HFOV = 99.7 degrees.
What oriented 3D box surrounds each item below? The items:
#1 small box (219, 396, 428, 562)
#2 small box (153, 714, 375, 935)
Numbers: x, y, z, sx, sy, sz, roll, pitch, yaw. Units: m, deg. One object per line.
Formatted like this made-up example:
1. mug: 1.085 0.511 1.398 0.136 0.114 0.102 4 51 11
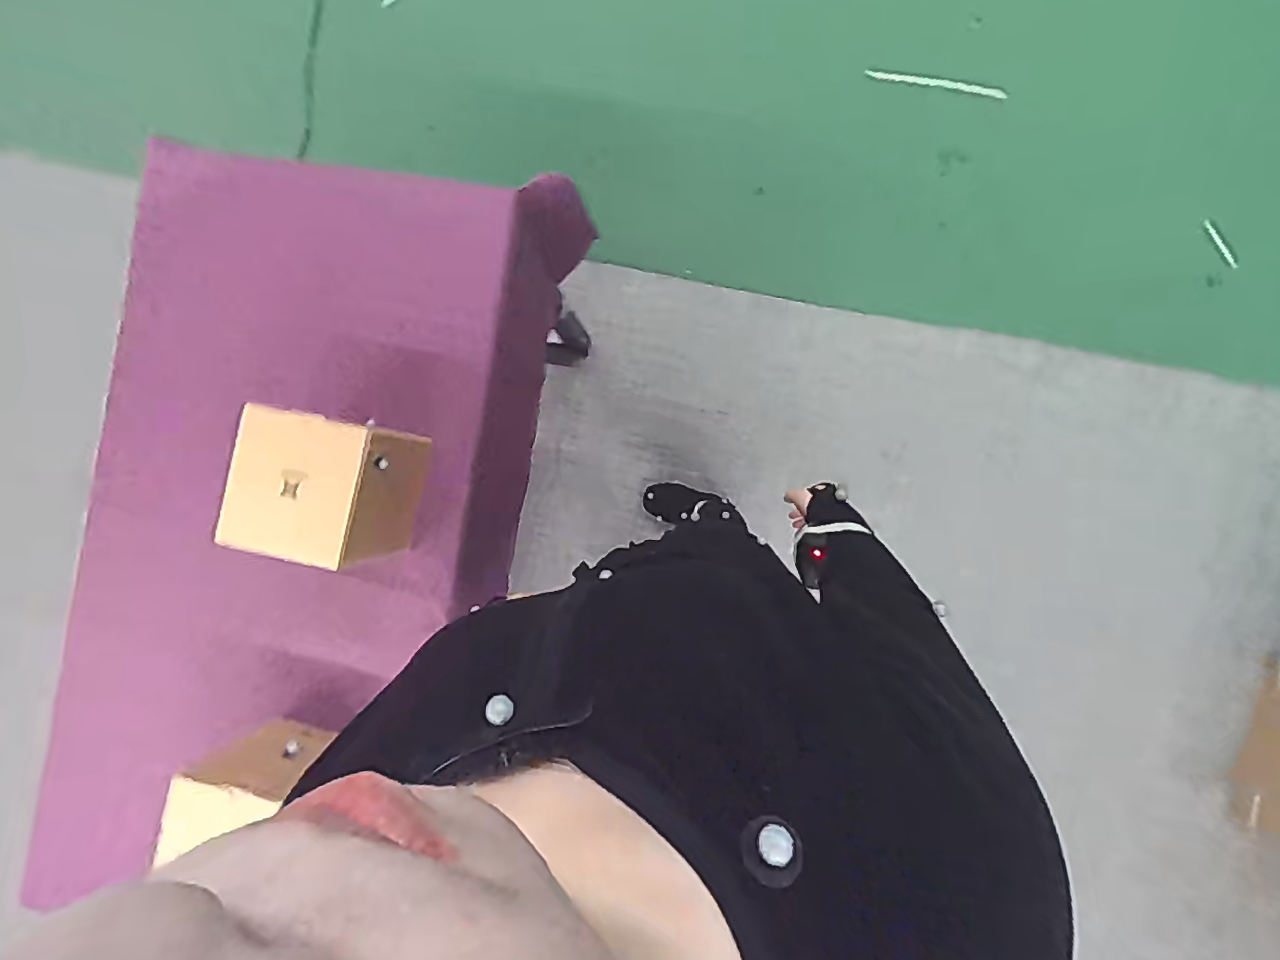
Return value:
1. small box: -0.413 -0.001 0.735 0.168 0.176 0.179 12 90 6
2. small box: -0.490 0.445 0.732 0.168 0.176 0.179 11 89 6
